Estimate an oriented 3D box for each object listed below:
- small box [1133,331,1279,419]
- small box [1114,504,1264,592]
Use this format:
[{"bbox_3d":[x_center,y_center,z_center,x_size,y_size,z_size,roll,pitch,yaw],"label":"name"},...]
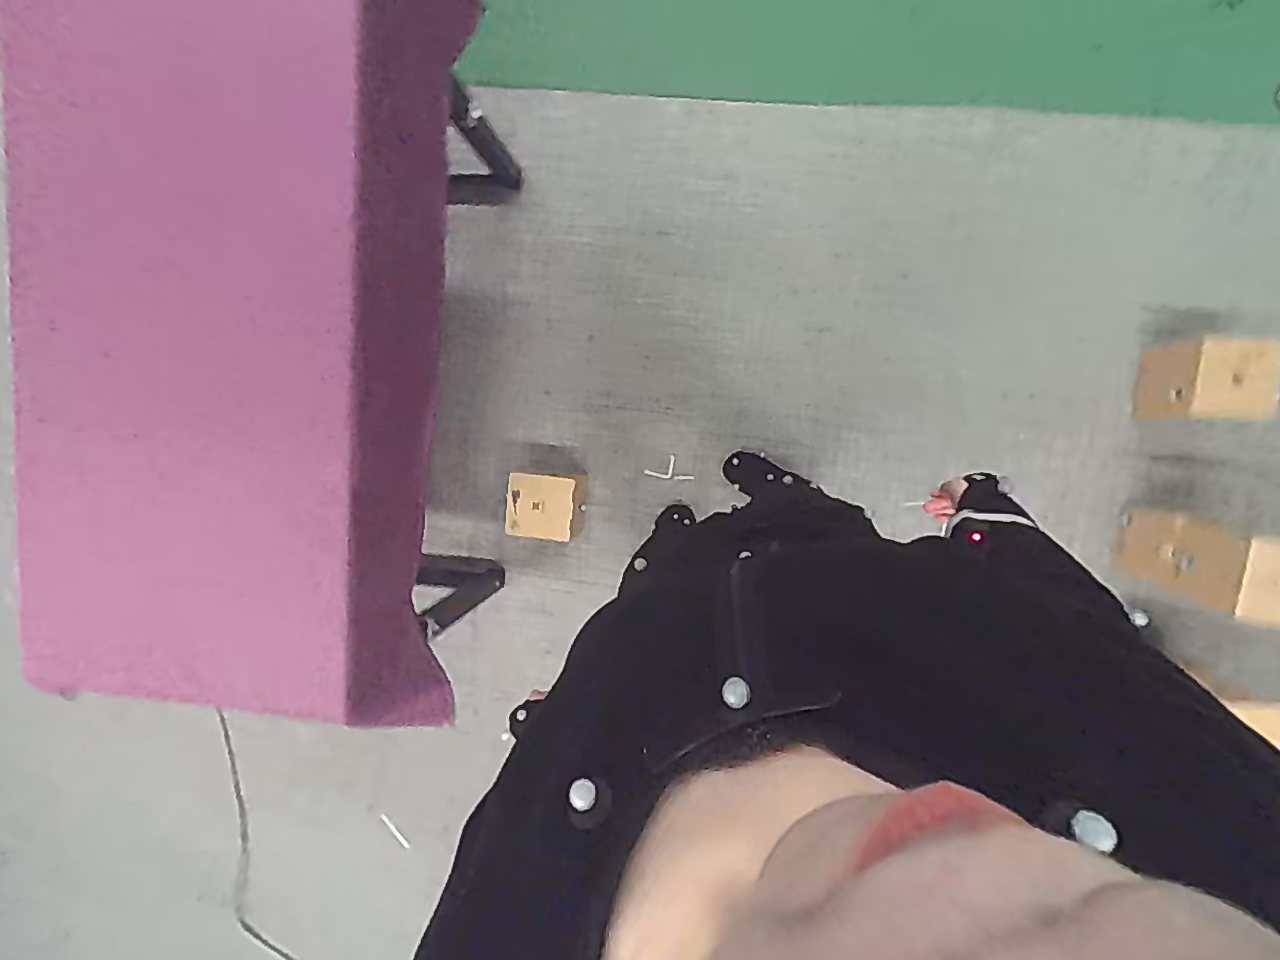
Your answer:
[{"bbox_3d":[1.295,-0.235,1.244,0.168,0.176,0.179,5,95,6],"label":"small box"},{"bbox_3d":[1.280,0.153,1.276,0.179,0.176,0.168,6,95,6],"label":"small box"}]
